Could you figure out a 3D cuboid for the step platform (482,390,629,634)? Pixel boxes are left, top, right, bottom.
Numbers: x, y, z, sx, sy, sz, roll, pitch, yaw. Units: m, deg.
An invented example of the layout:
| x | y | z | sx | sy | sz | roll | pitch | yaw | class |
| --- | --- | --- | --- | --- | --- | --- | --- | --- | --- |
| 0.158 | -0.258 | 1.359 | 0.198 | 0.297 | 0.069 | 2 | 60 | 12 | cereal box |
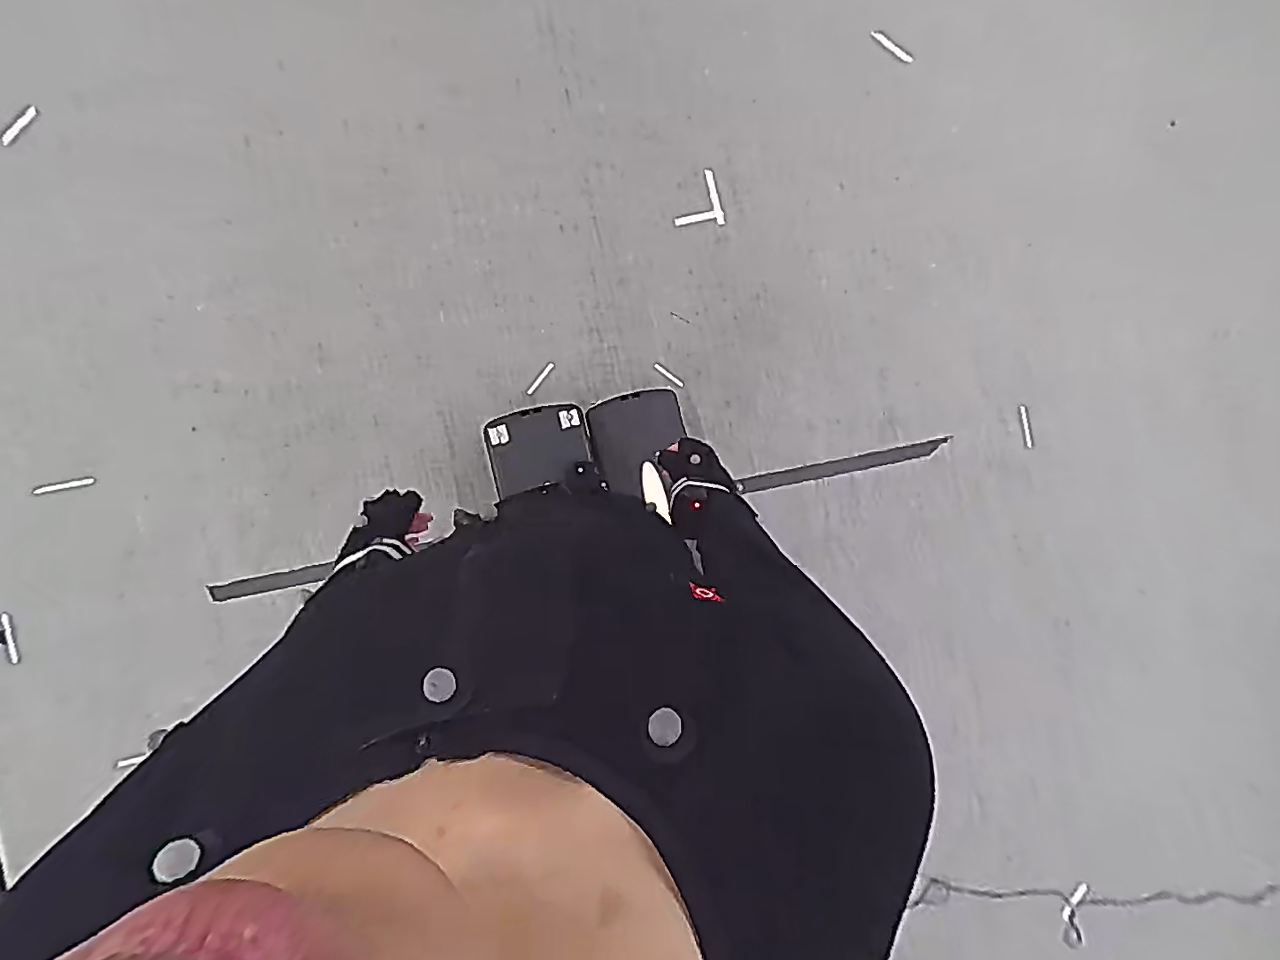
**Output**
| x | y | z | sx | sy | sz | roll | pitch | yaw | class |
| --- | --- | --- | --- | --- | --- | --- | --- | --- | --- |
| -0.240 | 0.088 | 1.564 | 0.286 | 0.204 | 0.684 | -14 | 90 | -6 | step platform |
